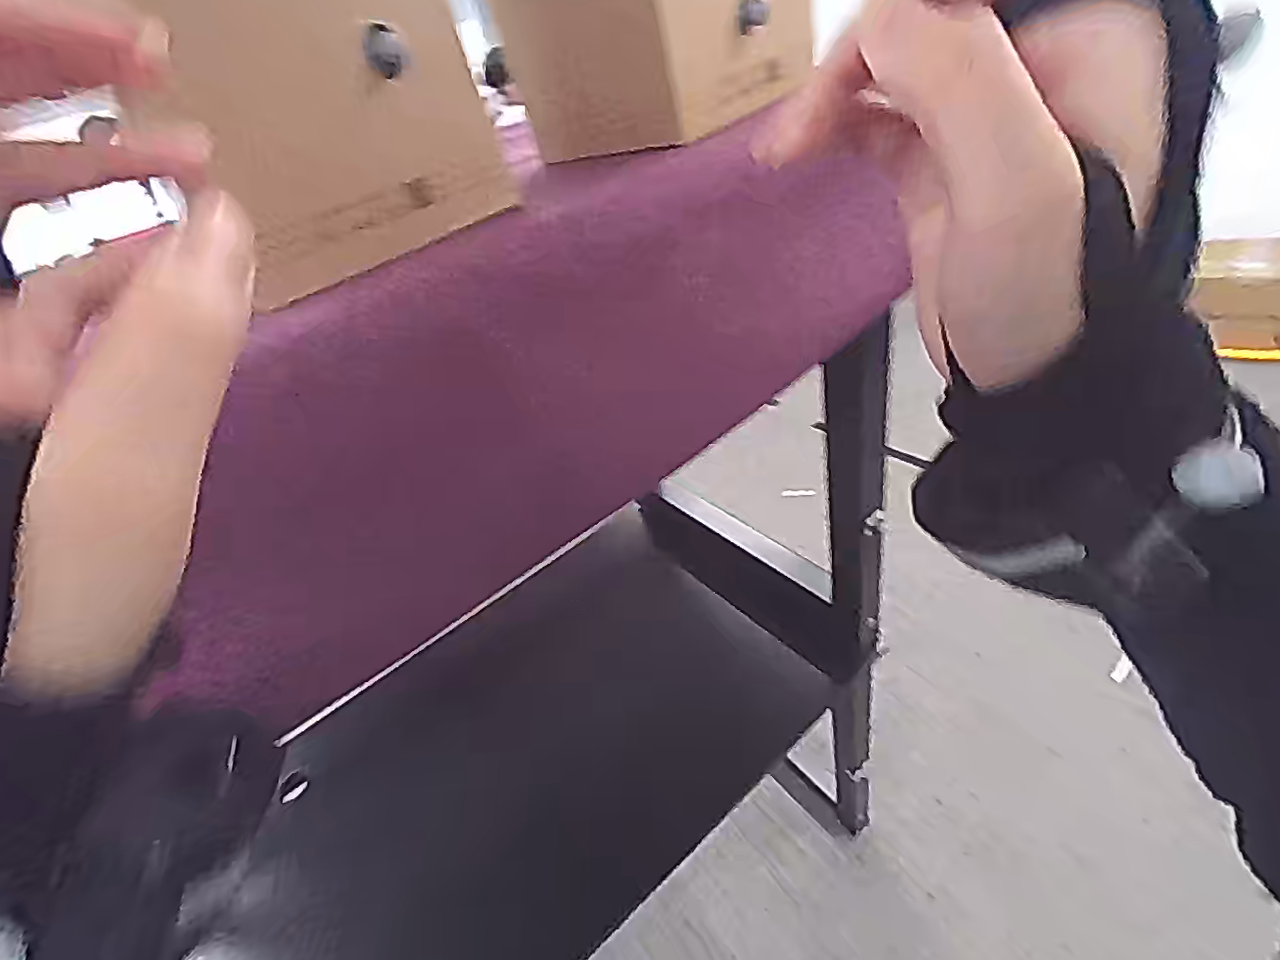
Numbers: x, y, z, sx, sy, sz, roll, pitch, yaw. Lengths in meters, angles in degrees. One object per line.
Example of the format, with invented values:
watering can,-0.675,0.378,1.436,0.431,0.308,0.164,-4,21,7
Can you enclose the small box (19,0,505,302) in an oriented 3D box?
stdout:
small box,-0.208,-0.220,0.317,0.168,0.176,0.179,-37,41,-25

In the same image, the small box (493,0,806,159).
small box,0.002,-0.357,0.401,0.168,0.176,0.179,-40,42,-26
